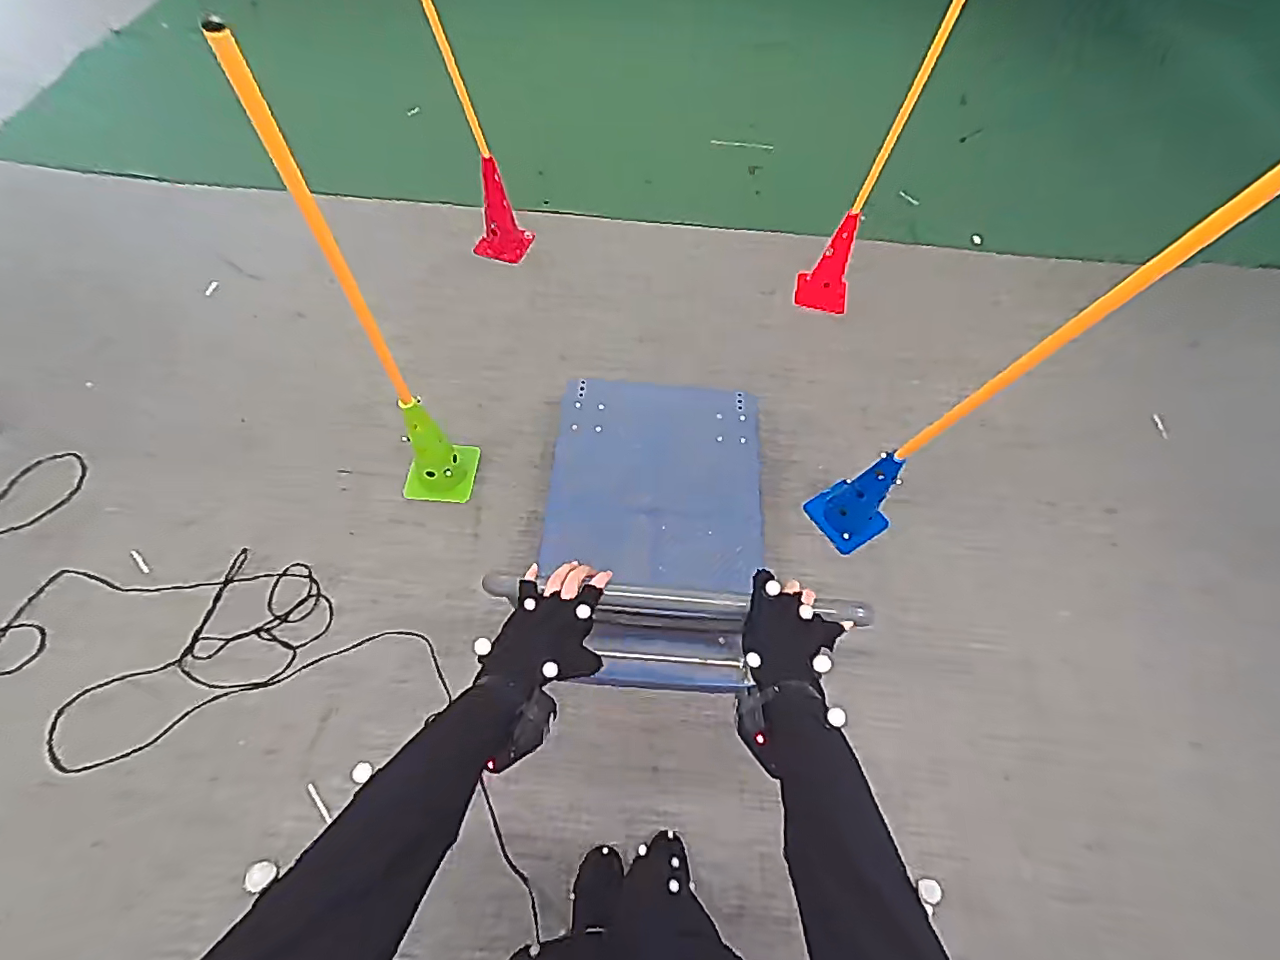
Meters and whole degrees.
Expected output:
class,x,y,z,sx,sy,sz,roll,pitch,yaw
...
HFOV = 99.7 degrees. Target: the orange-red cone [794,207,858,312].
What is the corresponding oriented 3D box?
class,x,y,z,sx,sy,sz,roll,pitch,yaw
orange-red cone,0.719,-0.826,1.983,0.198,0.360,0.199,14,62,6
